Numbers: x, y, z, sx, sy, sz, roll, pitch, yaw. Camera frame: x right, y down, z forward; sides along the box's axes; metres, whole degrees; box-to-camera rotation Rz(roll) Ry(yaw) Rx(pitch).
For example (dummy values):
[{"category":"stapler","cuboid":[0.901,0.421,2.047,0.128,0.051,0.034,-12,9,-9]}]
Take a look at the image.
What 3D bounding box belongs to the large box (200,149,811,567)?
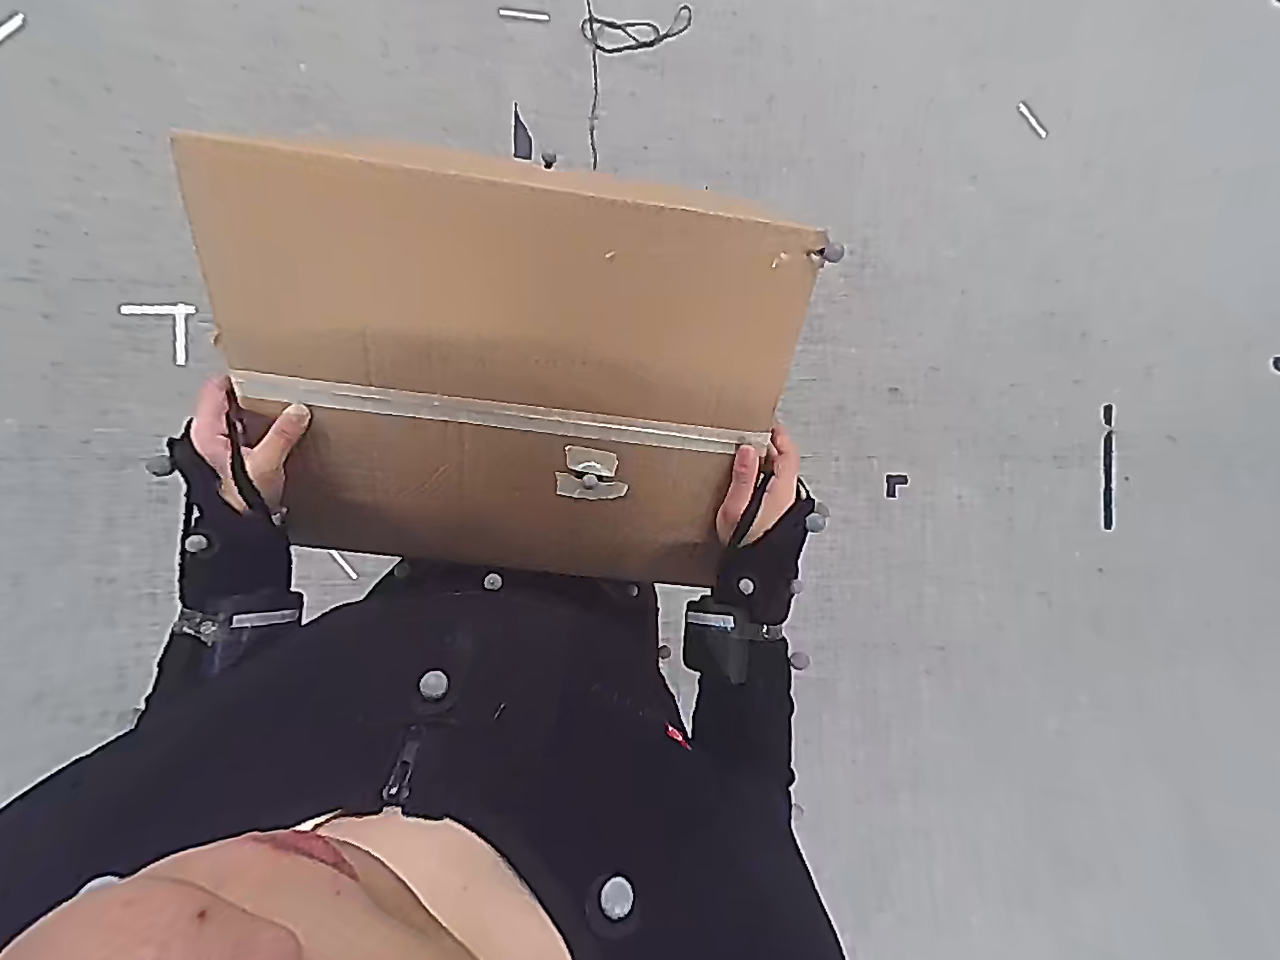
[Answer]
[{"category":"large box","cuboid":[-0.102,-0.138,0.554,0.408,0.320,0.320,5,123,-5]}]
